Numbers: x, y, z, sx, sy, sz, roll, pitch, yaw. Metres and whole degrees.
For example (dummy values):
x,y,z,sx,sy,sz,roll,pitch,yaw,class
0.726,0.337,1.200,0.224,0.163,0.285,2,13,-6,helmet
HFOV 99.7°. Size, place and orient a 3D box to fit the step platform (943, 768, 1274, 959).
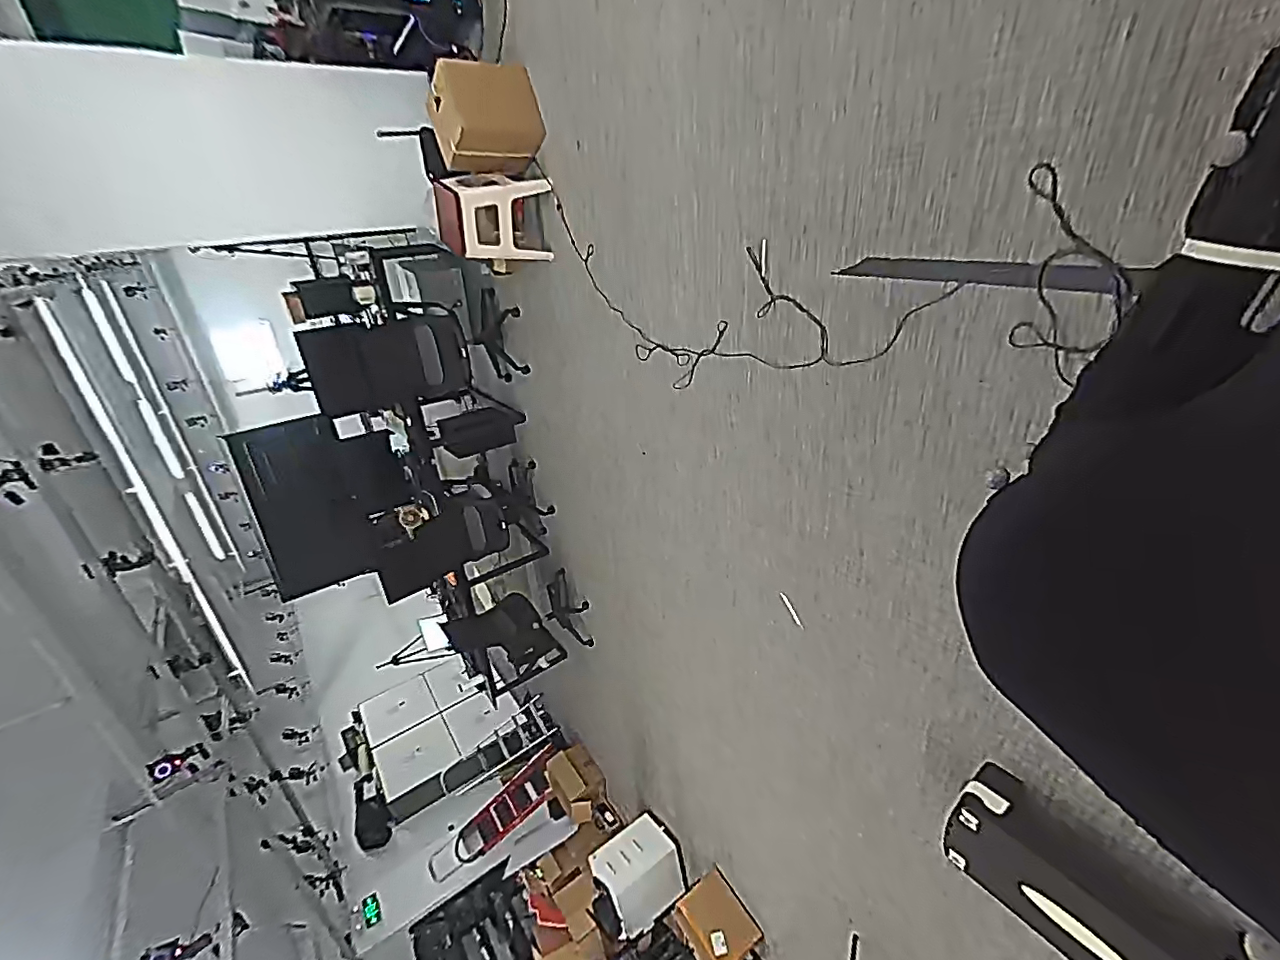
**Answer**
x,y,z,sx,sy,sz,roll,pitch,yaw,class
1.189,1.133,1.440,0.684,0.204,0.286,28,132,48,step platform
